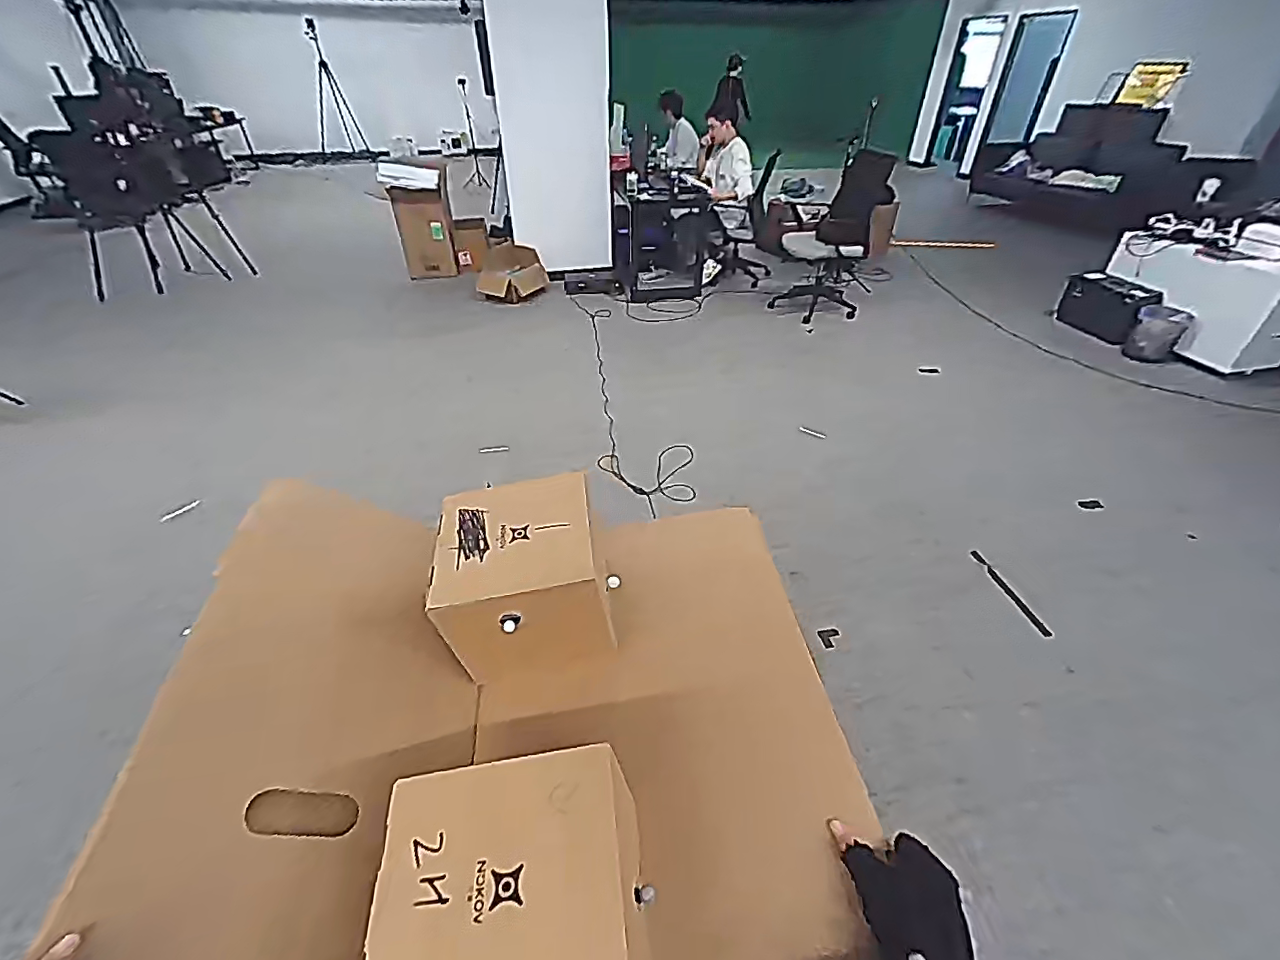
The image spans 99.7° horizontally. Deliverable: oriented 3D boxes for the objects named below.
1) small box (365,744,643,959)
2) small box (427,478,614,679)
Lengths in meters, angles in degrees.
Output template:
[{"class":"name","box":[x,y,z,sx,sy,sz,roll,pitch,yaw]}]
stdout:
[{"class":"small box","box":[-0.093,0.340,0.440,0.179,0.176,0.168,-9,44,0]},{"class":"small box","box":[-0.137,0.125,0.670,0.179,0.176,0.168,-10,44,-2]}]
